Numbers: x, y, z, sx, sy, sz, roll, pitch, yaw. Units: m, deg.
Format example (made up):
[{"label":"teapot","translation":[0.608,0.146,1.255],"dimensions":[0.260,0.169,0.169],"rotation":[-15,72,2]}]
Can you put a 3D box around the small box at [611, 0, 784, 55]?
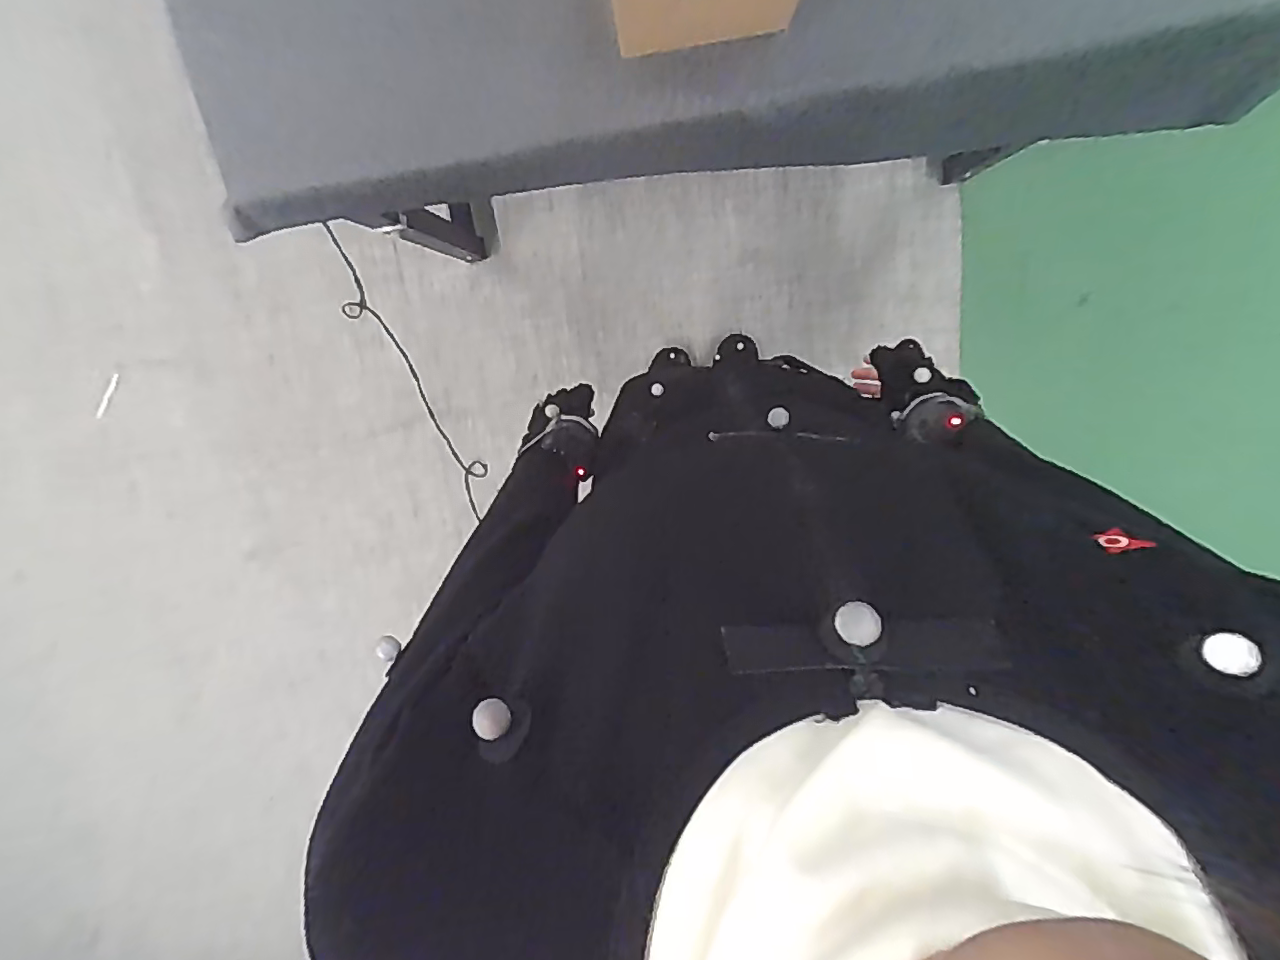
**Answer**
[{"label":"small box","translation":[0.050,-0.526,0.490],"dimensions":[0.179,0.176,0.168],"rotation":[-7,105,4]}]
